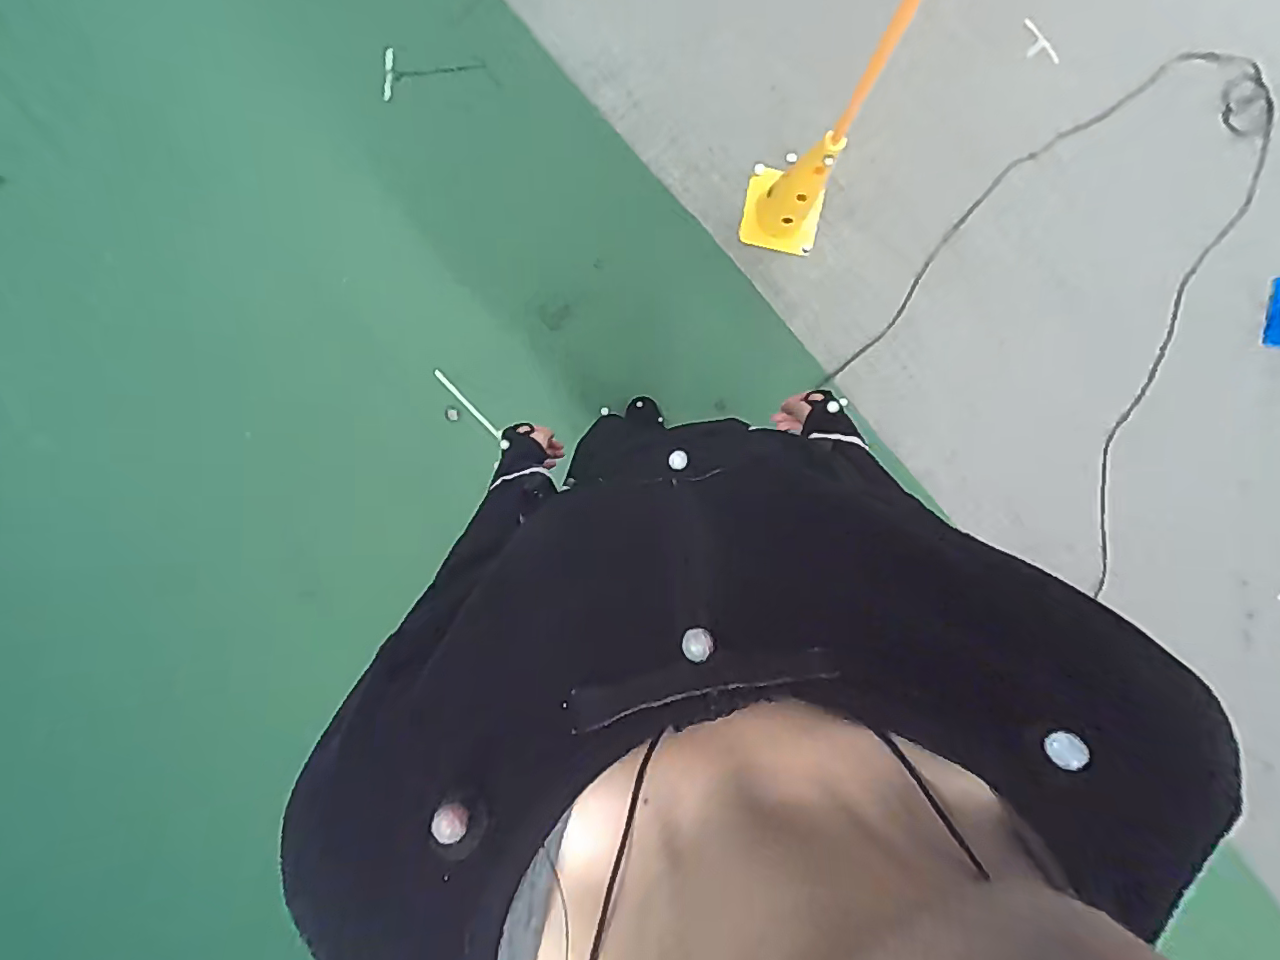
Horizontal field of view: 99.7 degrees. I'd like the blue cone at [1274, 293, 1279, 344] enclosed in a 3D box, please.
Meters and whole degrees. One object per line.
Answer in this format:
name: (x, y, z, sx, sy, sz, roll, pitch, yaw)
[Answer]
blue cone: (1.891, -0.462, 1.356, 0.193, 0.380, 0.192, 2, 94, -5)
